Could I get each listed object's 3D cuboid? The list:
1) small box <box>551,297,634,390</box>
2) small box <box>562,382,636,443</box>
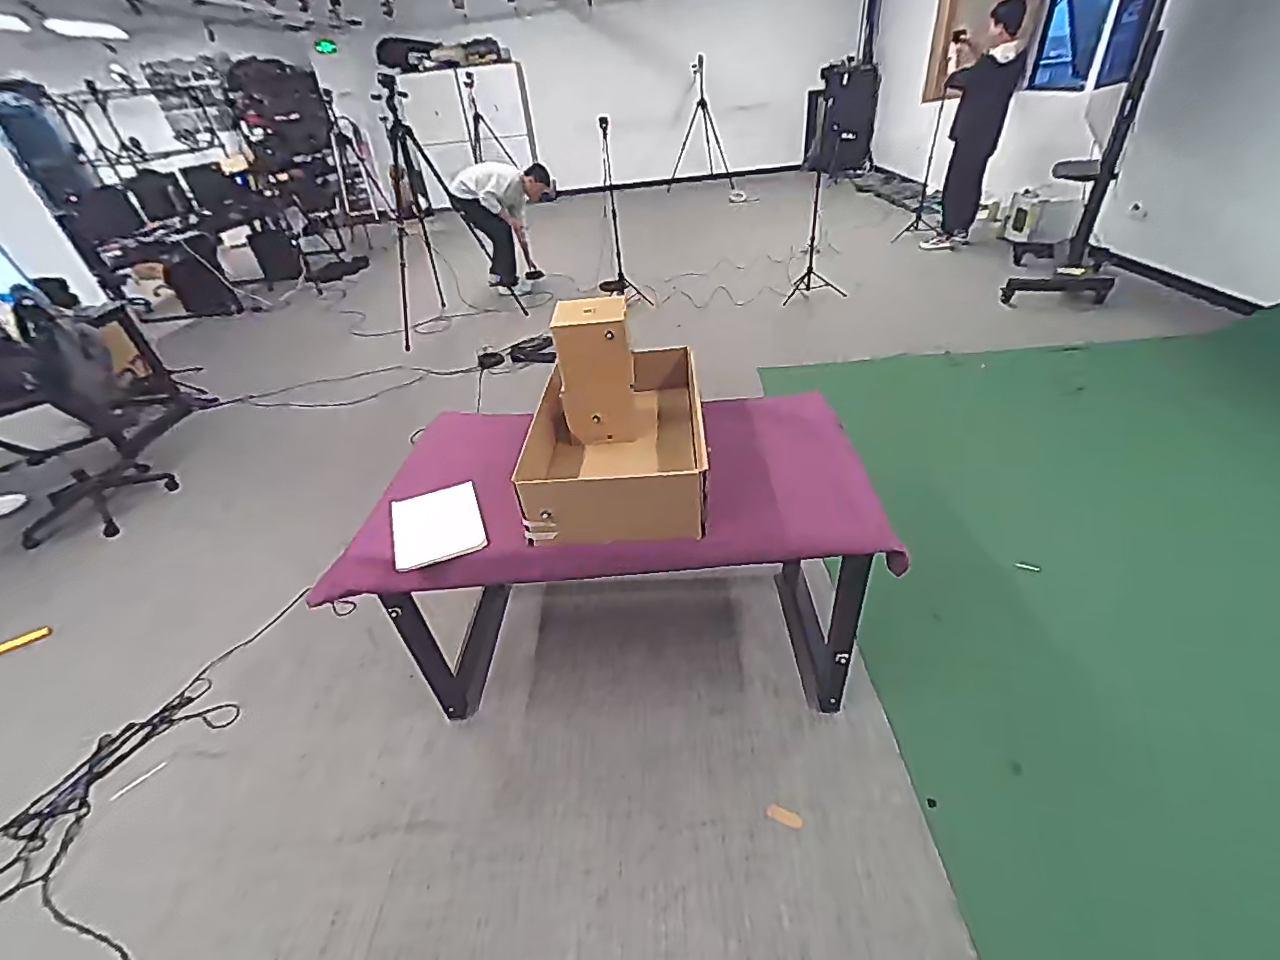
[{"bbox_3d":[-0.111,-0.334,1.336,0.179,0.176,0.168,-5,38,2],"label":"small box"},{"bbox_3d":[-0.101,-0.208,1.437,0.168,0.176,0.179,-3,38,5],"label":"small box"}]
